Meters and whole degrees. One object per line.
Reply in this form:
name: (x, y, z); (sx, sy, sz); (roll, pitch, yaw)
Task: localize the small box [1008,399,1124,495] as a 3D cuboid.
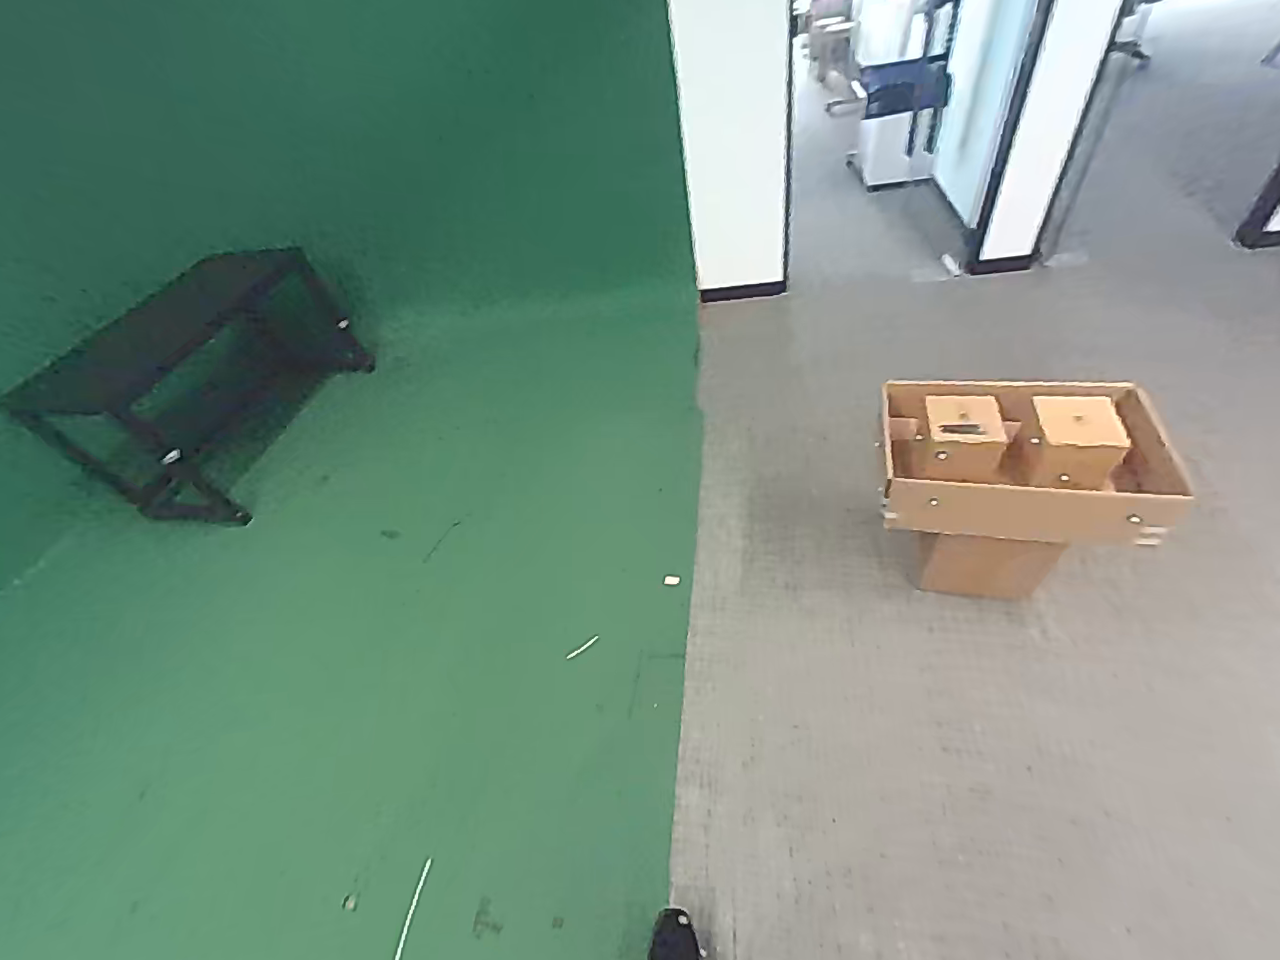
small box: (1.073, -0.086, 1.381); (0.168, 0.176, 0.179); (4, 51, 15)
